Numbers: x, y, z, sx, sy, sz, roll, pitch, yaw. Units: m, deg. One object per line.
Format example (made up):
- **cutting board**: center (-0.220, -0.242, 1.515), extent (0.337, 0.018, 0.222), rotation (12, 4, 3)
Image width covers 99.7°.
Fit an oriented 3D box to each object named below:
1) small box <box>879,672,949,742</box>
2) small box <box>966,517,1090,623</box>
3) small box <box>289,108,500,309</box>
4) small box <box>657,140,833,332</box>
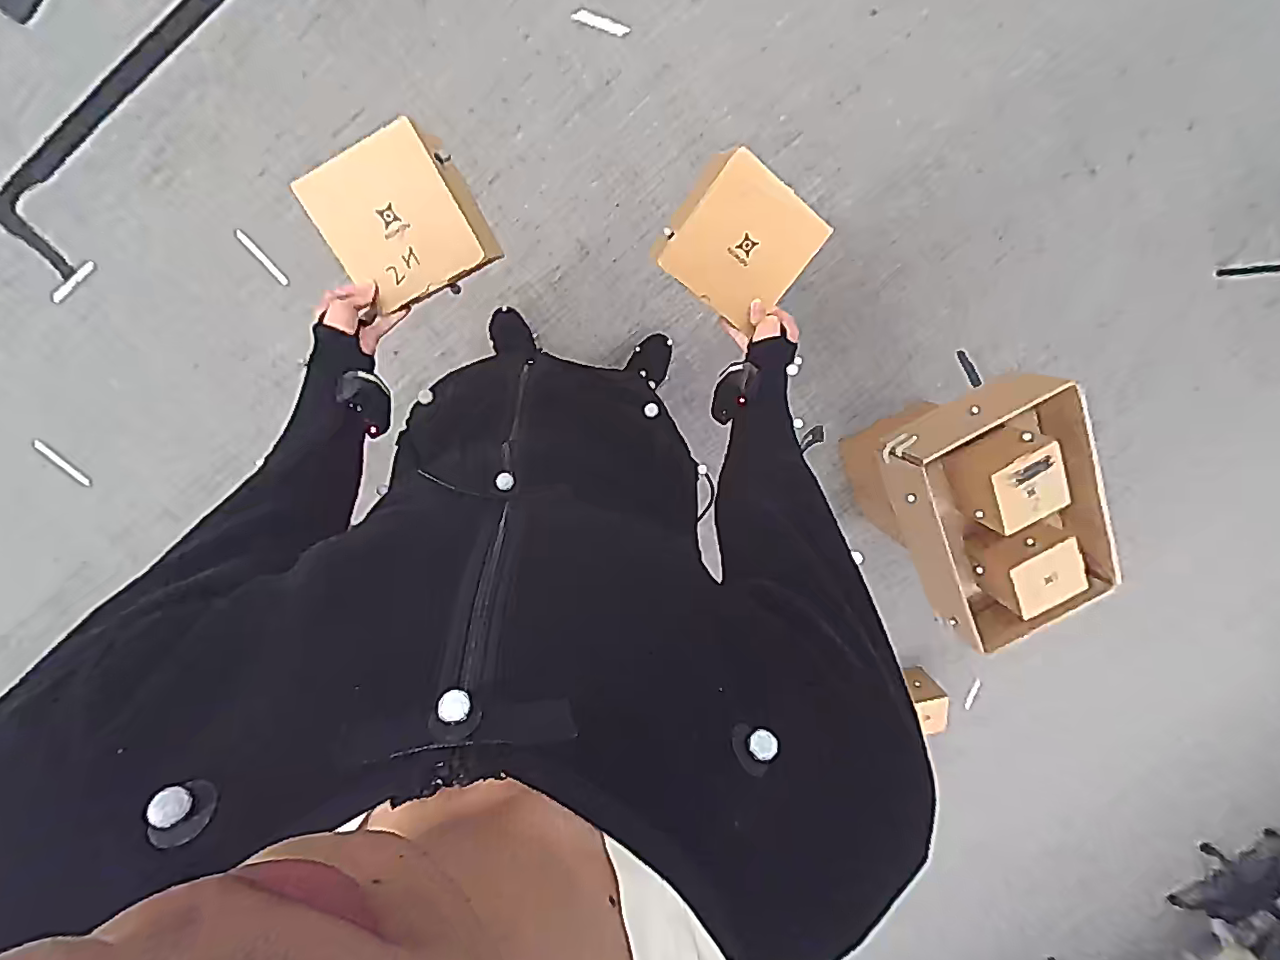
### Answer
- **small box**: center (1.027, 0.853, 2.043), extent (0.179, 0.176, 0.168), rotation (-7, 110, -5)
- **small box**: center (0.971, 0.218, 1.362), extent (0.179, 0.176, 0.168), rotation (-29, 109, 0)
- **small box**: center (-0.311, -0.354, 0.730), extent (0.168, 0.176, 0.179), rotation (-25, 114, 6)
- **small box**: center (0.136, -0.350, 0.780), extent (0.168, 0.176, 0.179), rotation (33, 113, -18)
